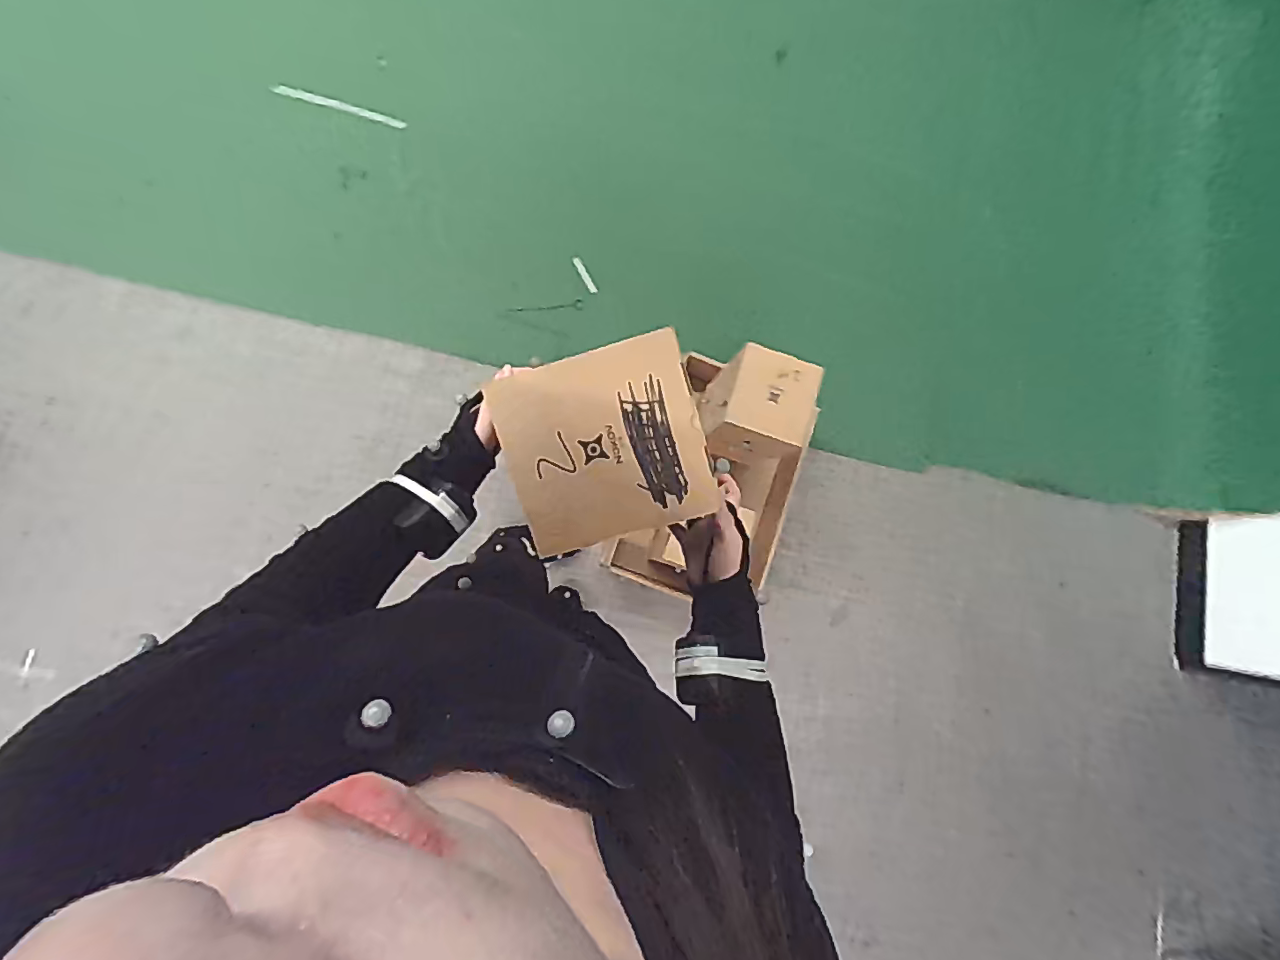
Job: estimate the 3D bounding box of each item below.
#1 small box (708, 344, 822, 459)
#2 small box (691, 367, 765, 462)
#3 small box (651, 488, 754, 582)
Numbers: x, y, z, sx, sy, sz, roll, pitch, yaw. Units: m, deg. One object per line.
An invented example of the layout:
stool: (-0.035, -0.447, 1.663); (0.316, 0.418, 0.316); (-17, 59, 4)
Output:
small box: (0.256, -0.157, 1.153); (0.168, 0.176, 0.179); (20, 82, -5)
small box: (0.244, -0.149, 1.318); (0.179, 0.176, 0.168); (21, 81, -4)
small box: (0.138, 0.133, 1.264); (0.179, 0.176, 0.168); (20, 80, -6)
